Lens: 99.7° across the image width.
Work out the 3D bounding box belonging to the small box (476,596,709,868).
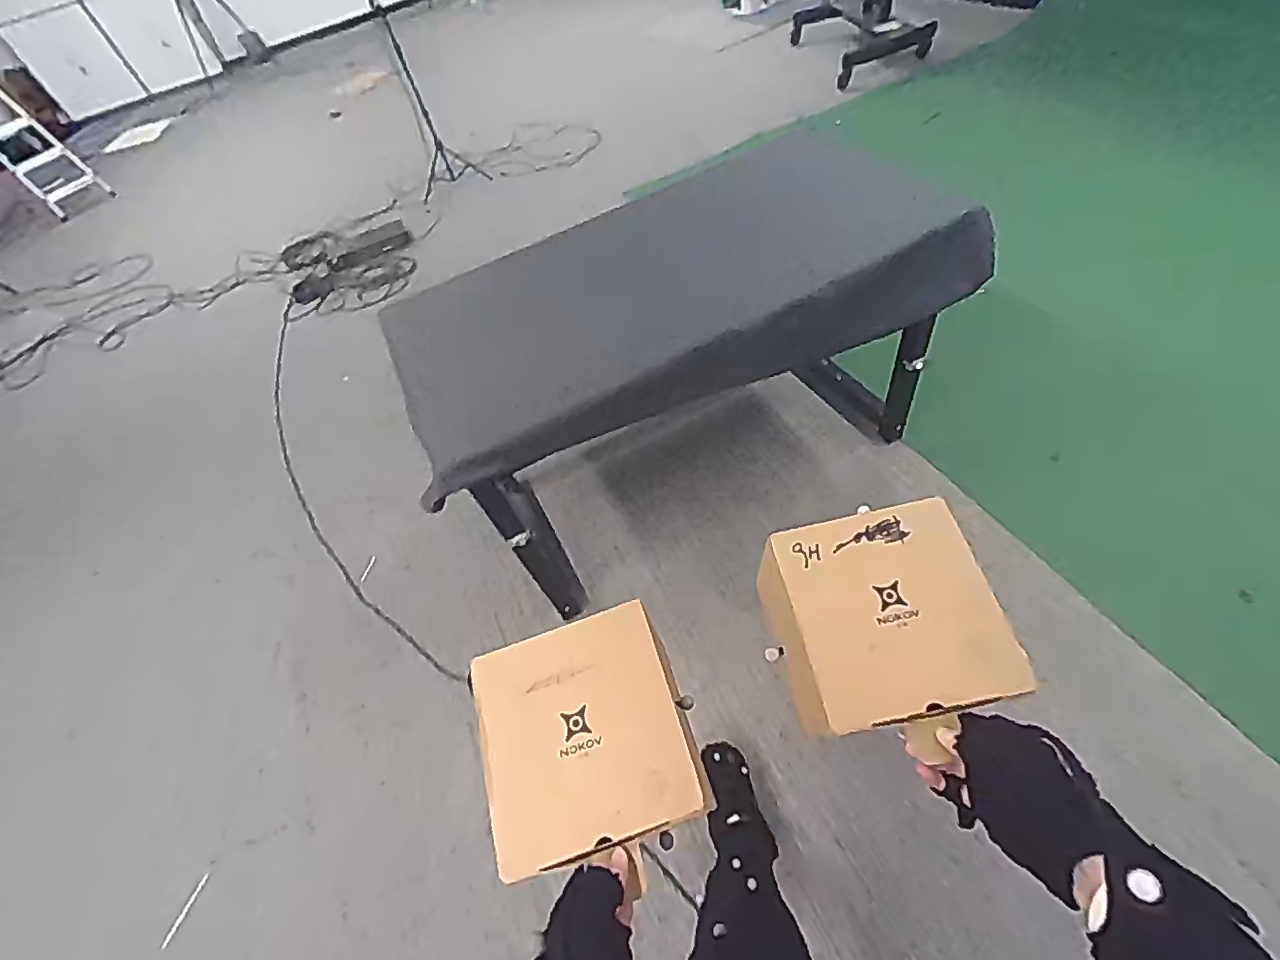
[{"bbox_3d":[-0.039,0.243,0.530,0.168,0.176,0.179,-20,58,-1],"label":"small box"}]
